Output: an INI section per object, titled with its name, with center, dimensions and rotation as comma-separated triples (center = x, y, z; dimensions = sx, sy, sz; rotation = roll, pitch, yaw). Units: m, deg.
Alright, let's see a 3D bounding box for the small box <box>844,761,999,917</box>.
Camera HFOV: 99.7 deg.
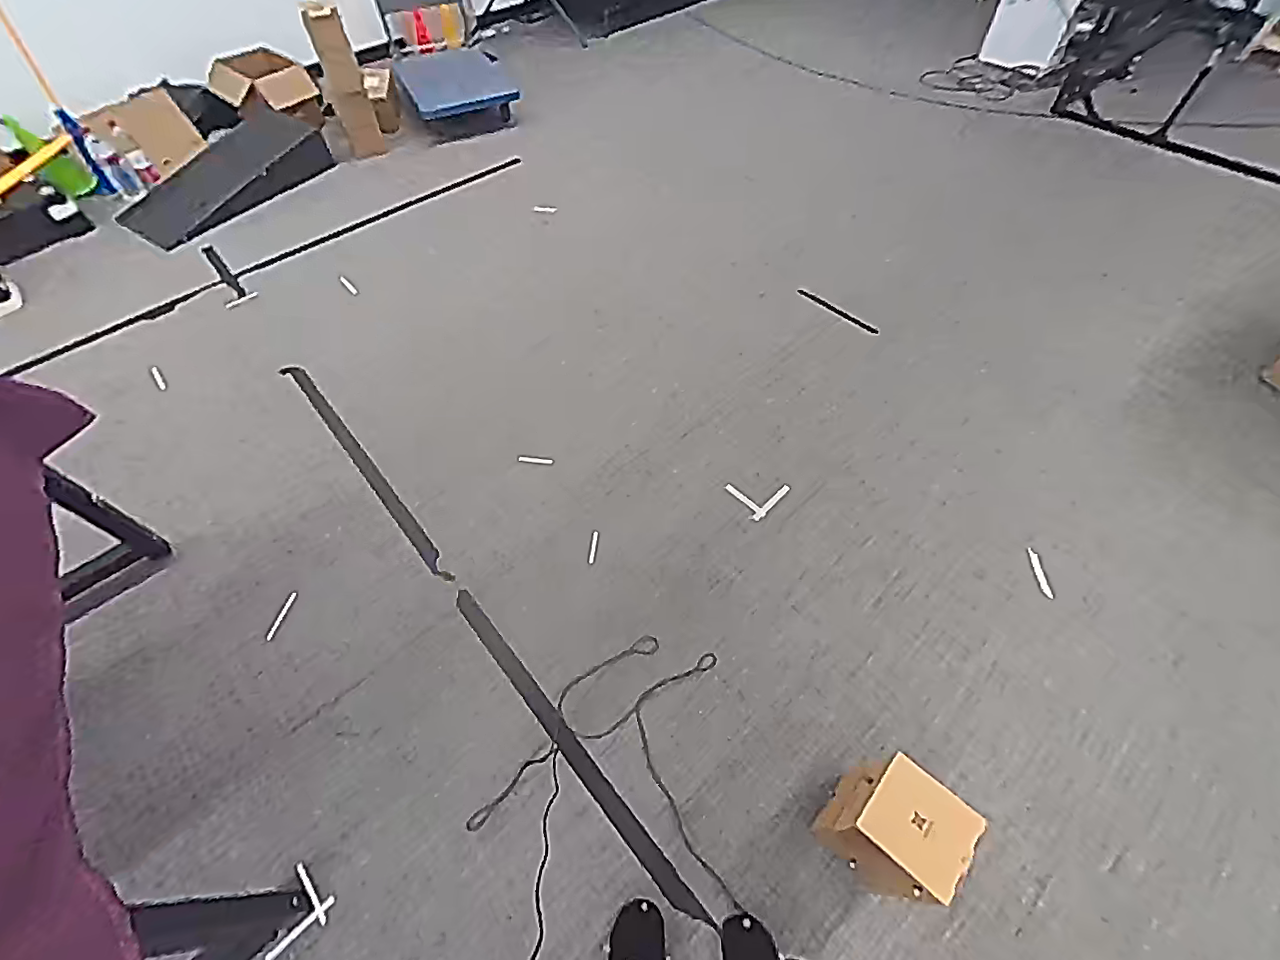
[small box]
center = 0.513, 0.647, 0.984
dimensions = 0.168, 0.176, 0.179
rotation = 44, 47, 7
